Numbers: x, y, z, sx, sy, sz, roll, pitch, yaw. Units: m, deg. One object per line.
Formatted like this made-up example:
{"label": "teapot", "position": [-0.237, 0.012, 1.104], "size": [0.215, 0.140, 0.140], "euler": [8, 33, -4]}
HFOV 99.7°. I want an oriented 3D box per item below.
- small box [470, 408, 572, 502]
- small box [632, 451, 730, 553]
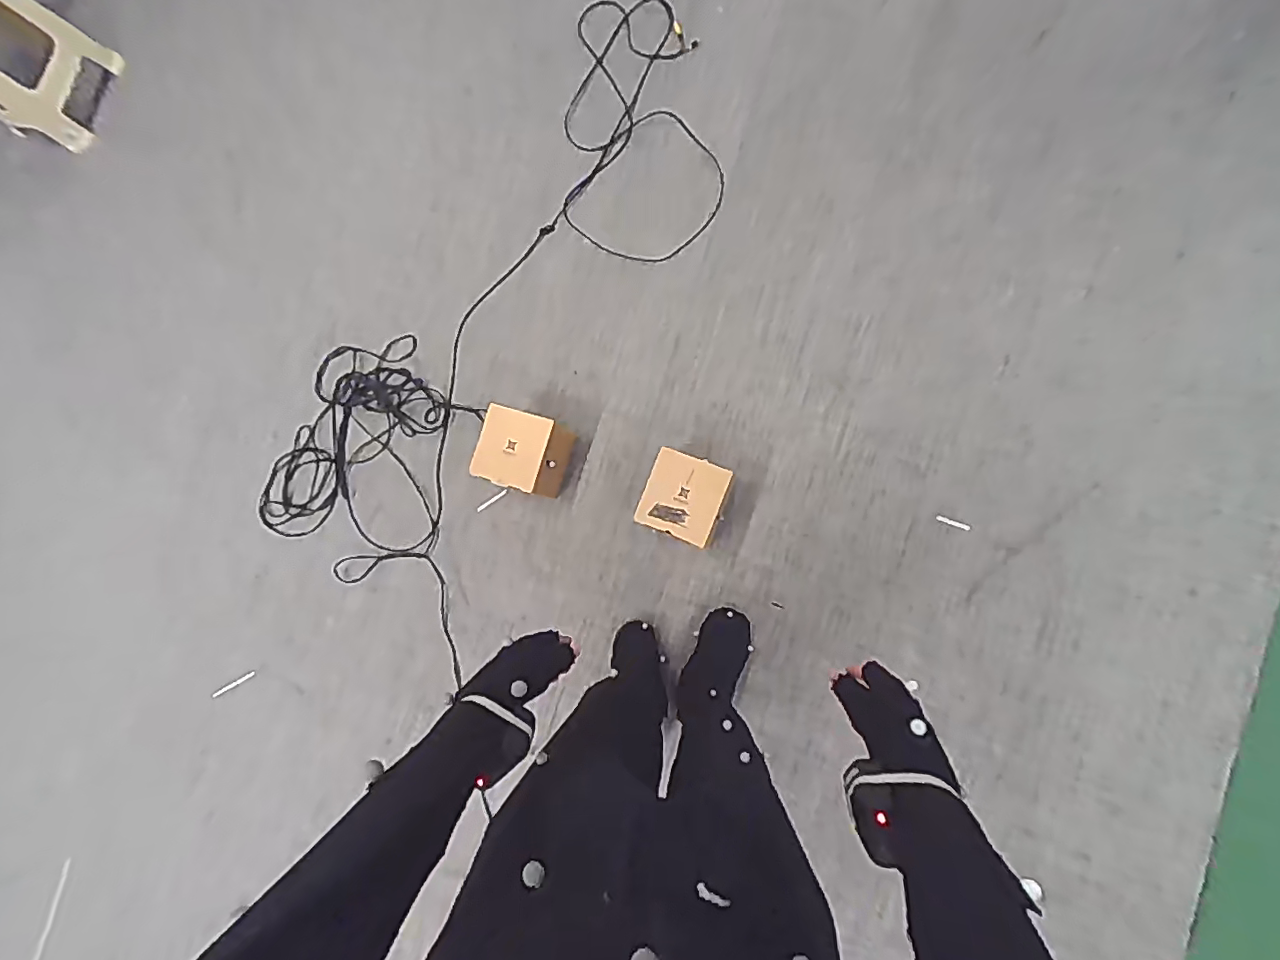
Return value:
{"label": "small box", "position": [-0.278, -0.054, 1.309], "size": [0.168, 0.176, 0.179], "euler": [16, 87, 12]}
{"label": "small box", "position": [0.102, 0.053, 1.224], "size": [0.168, 0.176, 0.179], "euler": [21, 88, 12]}
